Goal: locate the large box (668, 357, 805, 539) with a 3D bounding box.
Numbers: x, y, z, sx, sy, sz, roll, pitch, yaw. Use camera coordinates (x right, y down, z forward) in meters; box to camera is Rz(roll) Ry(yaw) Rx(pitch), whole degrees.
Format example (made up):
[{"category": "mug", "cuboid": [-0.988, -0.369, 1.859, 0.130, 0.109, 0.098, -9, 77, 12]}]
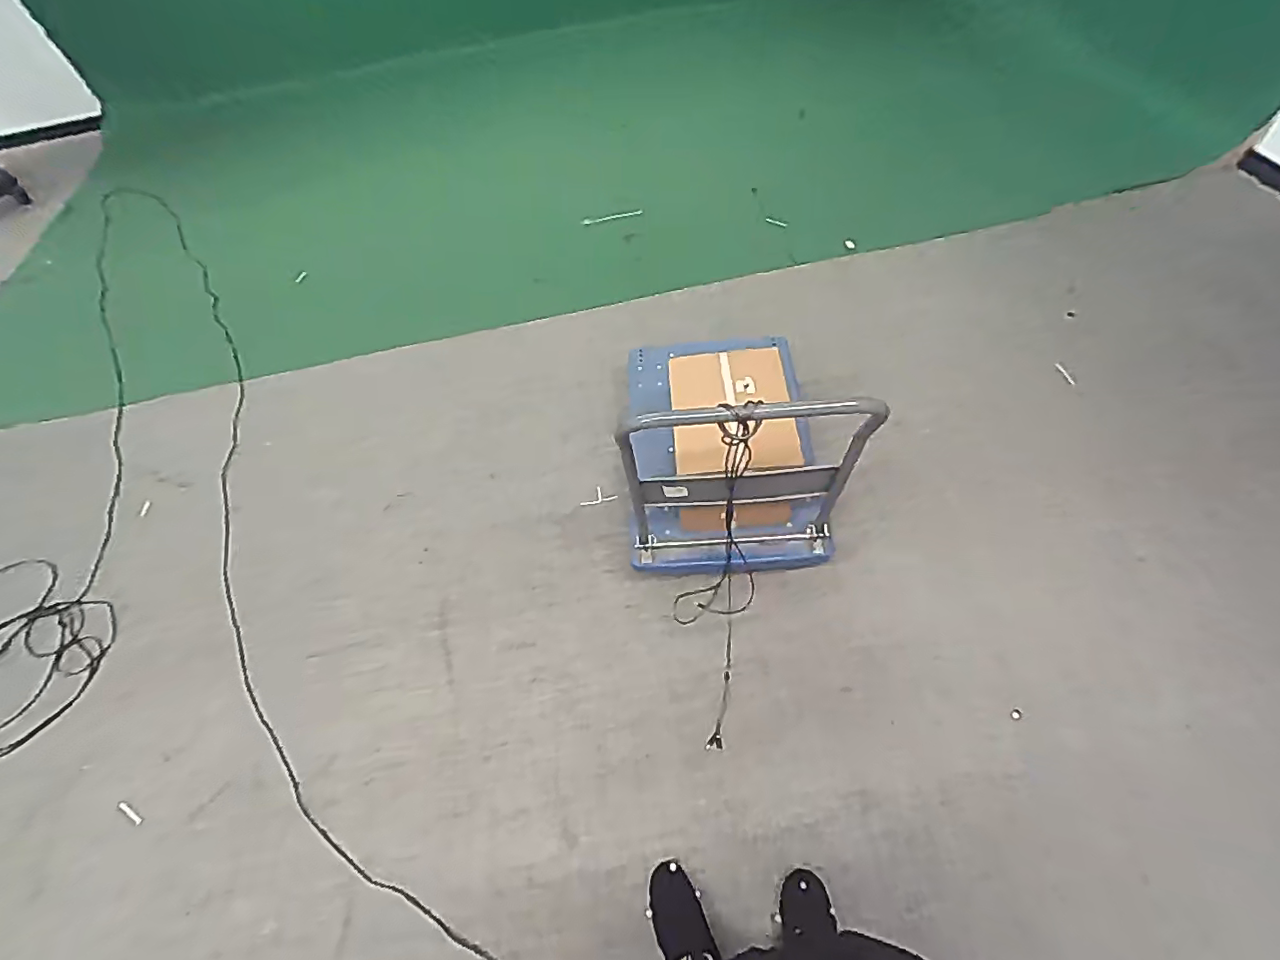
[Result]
[{"category": "large box", "cuboid": [0.257, -0.085, 1.542, 0.320, 0.320, 0.408, -5, 56, 4]}]
